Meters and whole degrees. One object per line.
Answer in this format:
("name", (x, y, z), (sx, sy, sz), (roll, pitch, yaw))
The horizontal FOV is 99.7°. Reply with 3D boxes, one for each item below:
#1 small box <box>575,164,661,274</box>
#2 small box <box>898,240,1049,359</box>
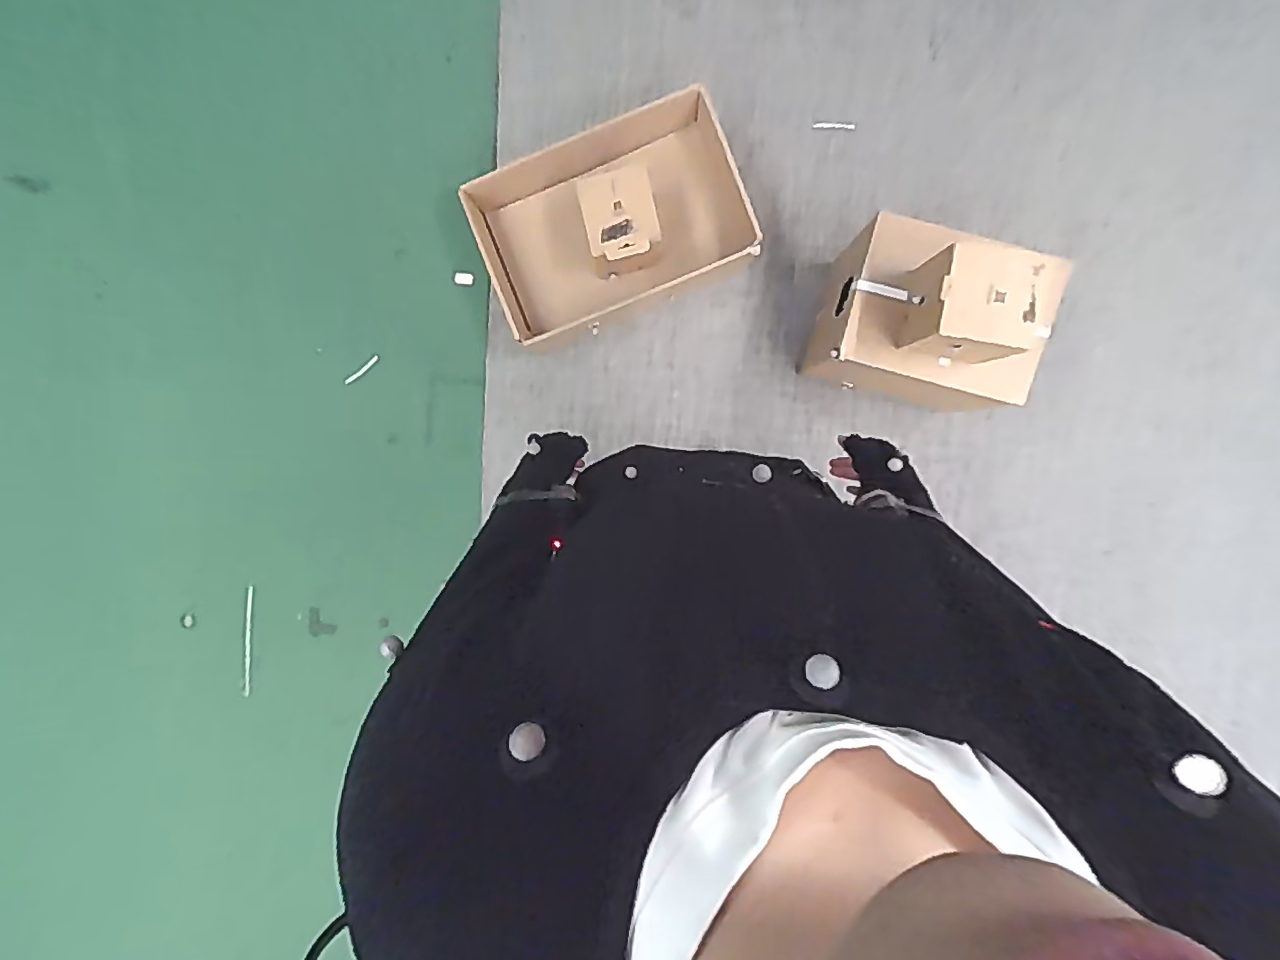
("small box", (-0.046, -0.615, 1.304), (0.168, 0.176, 0.179), (-13, 91, 4))
("small box", (0.620, -0.333, 1.031), (0.179, 0.176, 0.168), (10, 95, 2))
